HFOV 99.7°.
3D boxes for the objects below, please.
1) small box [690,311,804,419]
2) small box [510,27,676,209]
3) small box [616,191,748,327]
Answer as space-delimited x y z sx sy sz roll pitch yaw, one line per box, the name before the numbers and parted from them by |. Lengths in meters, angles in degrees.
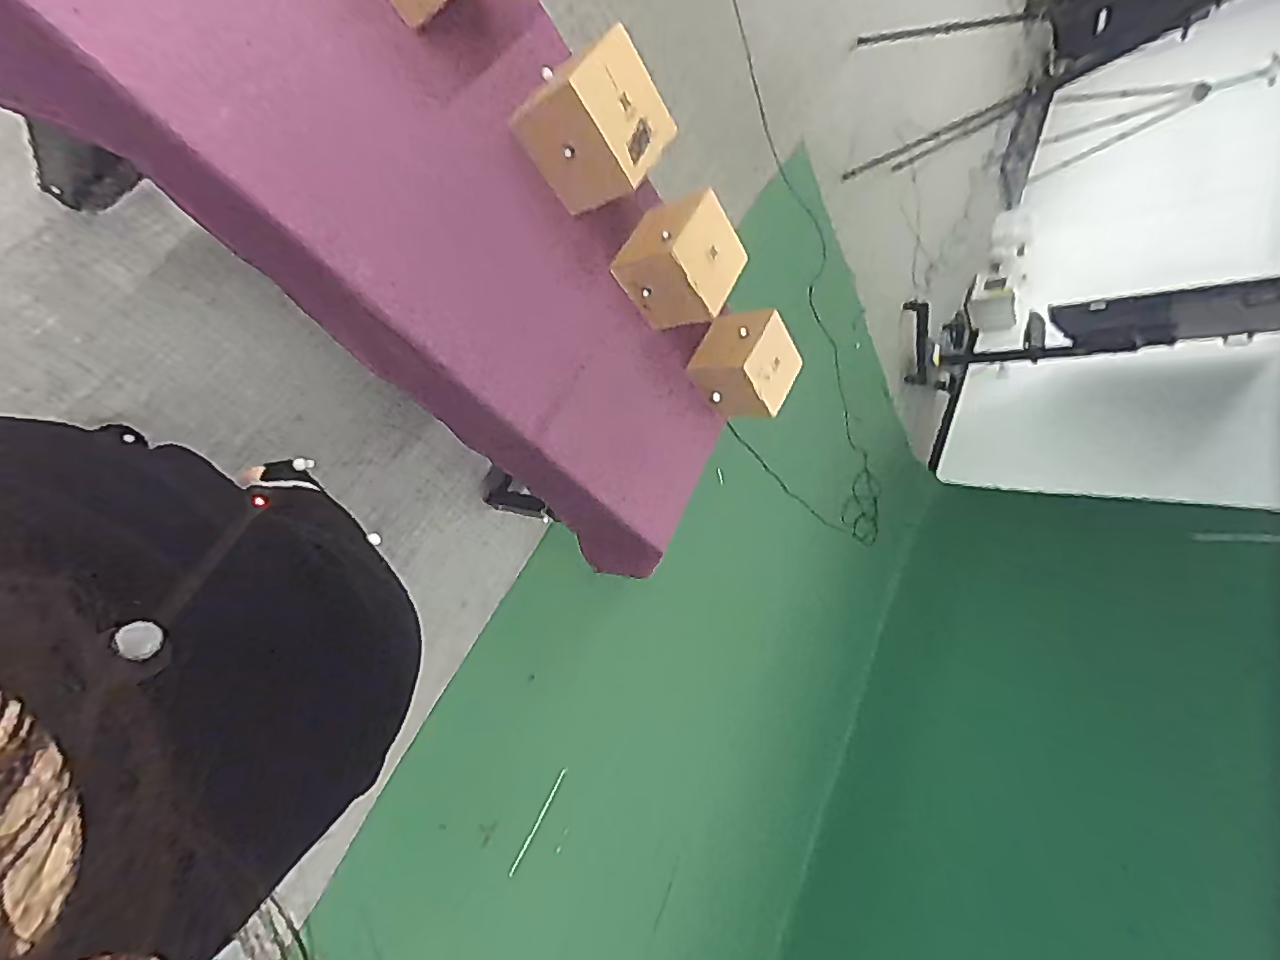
small box | 0.244 -0.261 1.246 0.168 0.176 0.179 47 66 -36
small box | -0.077 -0.583 0.901 0.179 0.176 0.168 46 63 -36
small box | 0.082 -0.430 1.076 0.168 0.176 0.179 44 65 -38
